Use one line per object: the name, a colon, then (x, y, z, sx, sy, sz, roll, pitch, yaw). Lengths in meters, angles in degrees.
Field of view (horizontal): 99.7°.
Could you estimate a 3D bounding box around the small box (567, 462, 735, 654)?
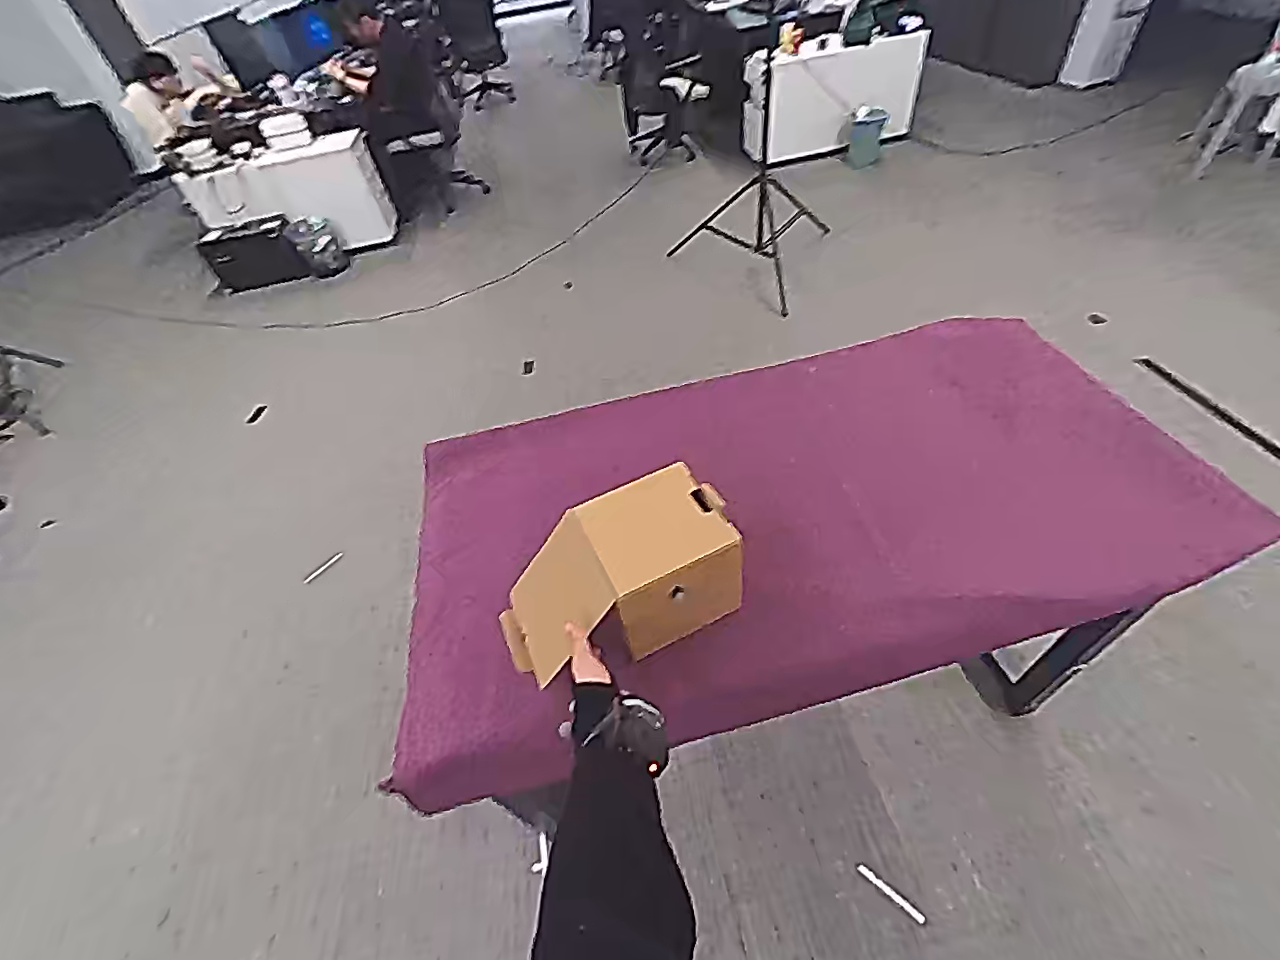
small box: (0.020, 0.112, 0.755, 0.179, 0.176, 0.168, -23, 48, -12)
